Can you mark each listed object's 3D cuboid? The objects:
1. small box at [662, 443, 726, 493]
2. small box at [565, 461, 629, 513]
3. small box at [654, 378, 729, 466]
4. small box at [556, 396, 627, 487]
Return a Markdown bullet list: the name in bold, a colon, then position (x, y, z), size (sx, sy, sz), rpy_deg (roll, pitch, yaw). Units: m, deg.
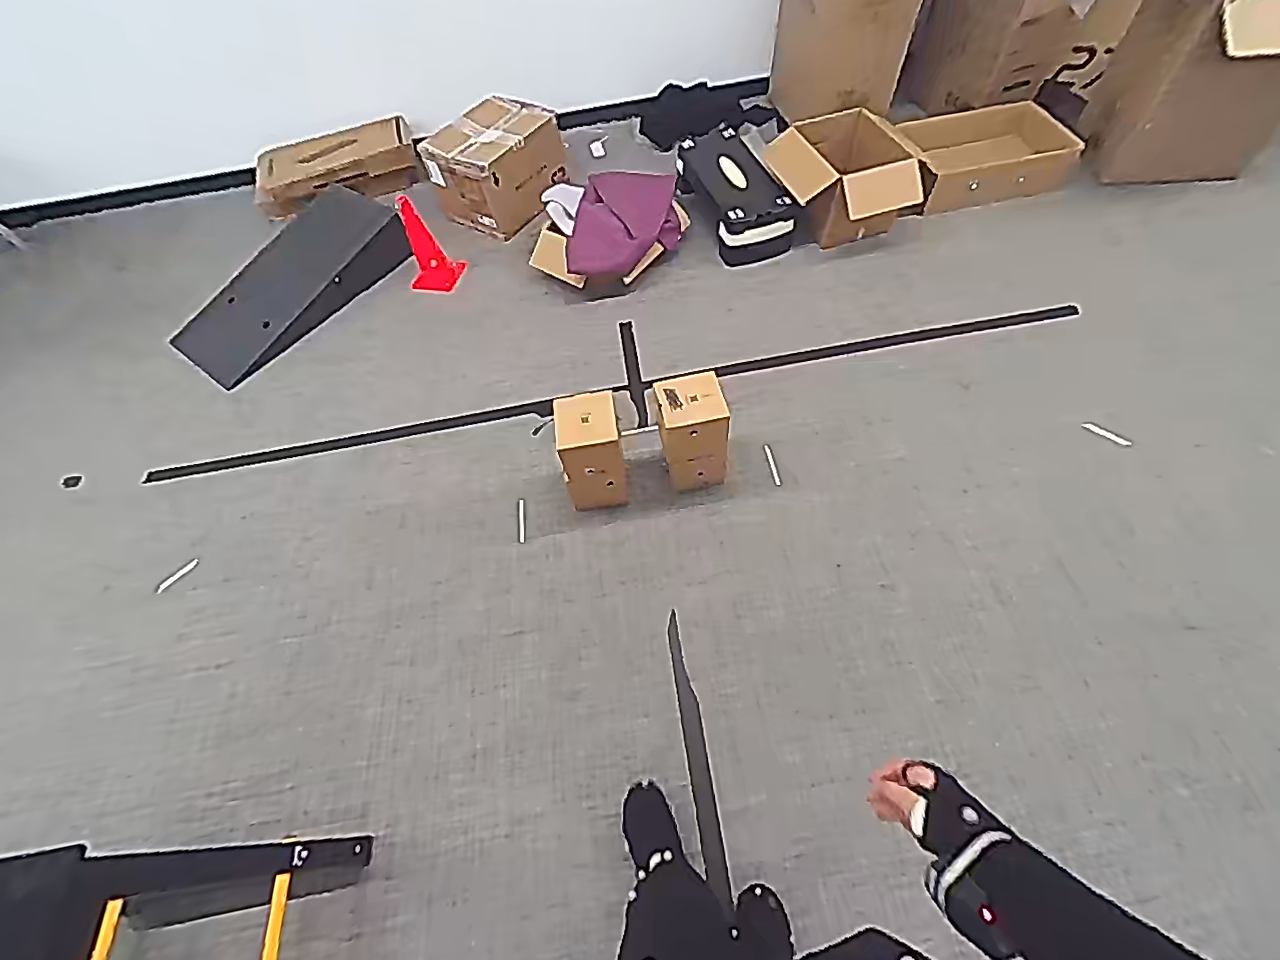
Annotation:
- **small box**: position (0.164, -0.074, 1.665), size (0.168, 0.176, 0.179), rpy_deg (-12, 58, -2)
- **small box**: position (-0.128, -0.015, 1.655), size (0.179, 0.176, 0.168), rpy_deg (-9, 57, 1)
- **small box**: position (0.144, -0.158, 1.523), size (0.179, 0.176, 0.168), rpy_deg (-11, 58, -2)
- **small box**: position (-0.136, -0.105, 1.520), size (0.168, 0.176, 0.179), rpy_deg (-10, 59, 1)
